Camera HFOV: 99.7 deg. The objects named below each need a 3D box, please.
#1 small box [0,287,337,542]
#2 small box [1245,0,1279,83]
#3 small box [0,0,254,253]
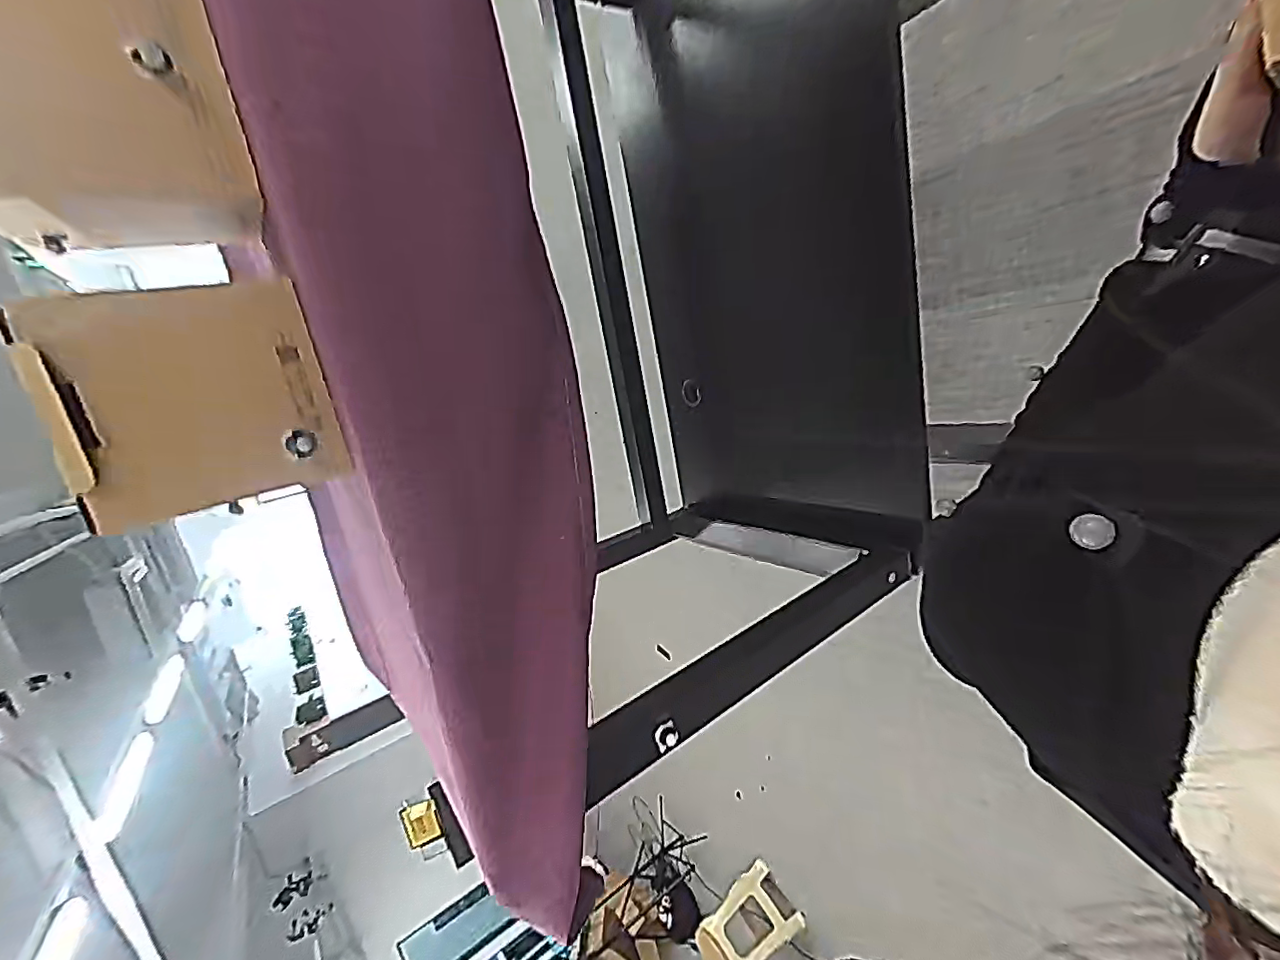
[{"bbox_3d":[-0.381,-0.059,0.470,0.179,0.176,0.168,3,109,57],"label":"small box"},{"bbox_3d":[0.327,-0.274,0.180,0.179,0.176,0.168,-7,104,52],"label":"small box"},{"bbox_3d":[-0.423,-0.282,0.413,0.168,0.176,0.179,14,117,54],"label":"small box"}]
